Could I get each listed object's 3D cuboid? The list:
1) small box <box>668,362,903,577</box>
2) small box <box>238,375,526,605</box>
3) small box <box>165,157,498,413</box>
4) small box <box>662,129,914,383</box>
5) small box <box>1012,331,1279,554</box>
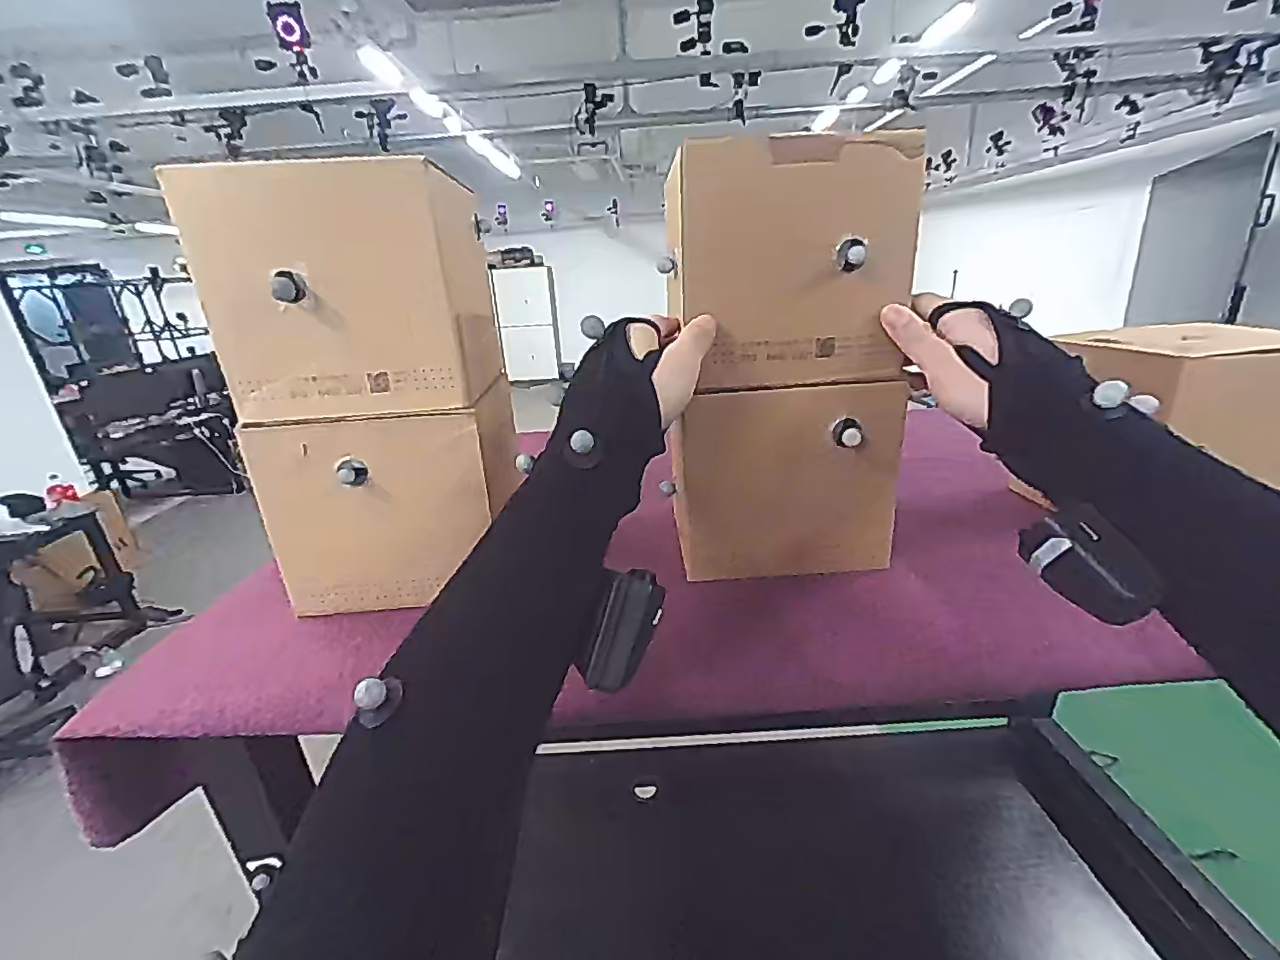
[{"bbox_3d":[0.118,-0.021,0.511,0.179,0.176,0.168,-3,20,1],"label":"small box"},{"bbox_3d":[-0.213,0.002,0.502,0.179,0.176,0.168,-3,20,-3],"label":"small box"},{"bbox_3d":[-0.222,-0.151,0.451,0.168,0.176,0.179,-5,20,-4],"label":"small box"},{"bbox_3d":[0.107,-0.177,0.462,0.168,0.176,0.179,-3,20,0],"label":"small box"},{"bbox_3d":[0.491,-0.042,0.502,0.179,0.176,0.168,-3,19,0],"label":"small box"}]
